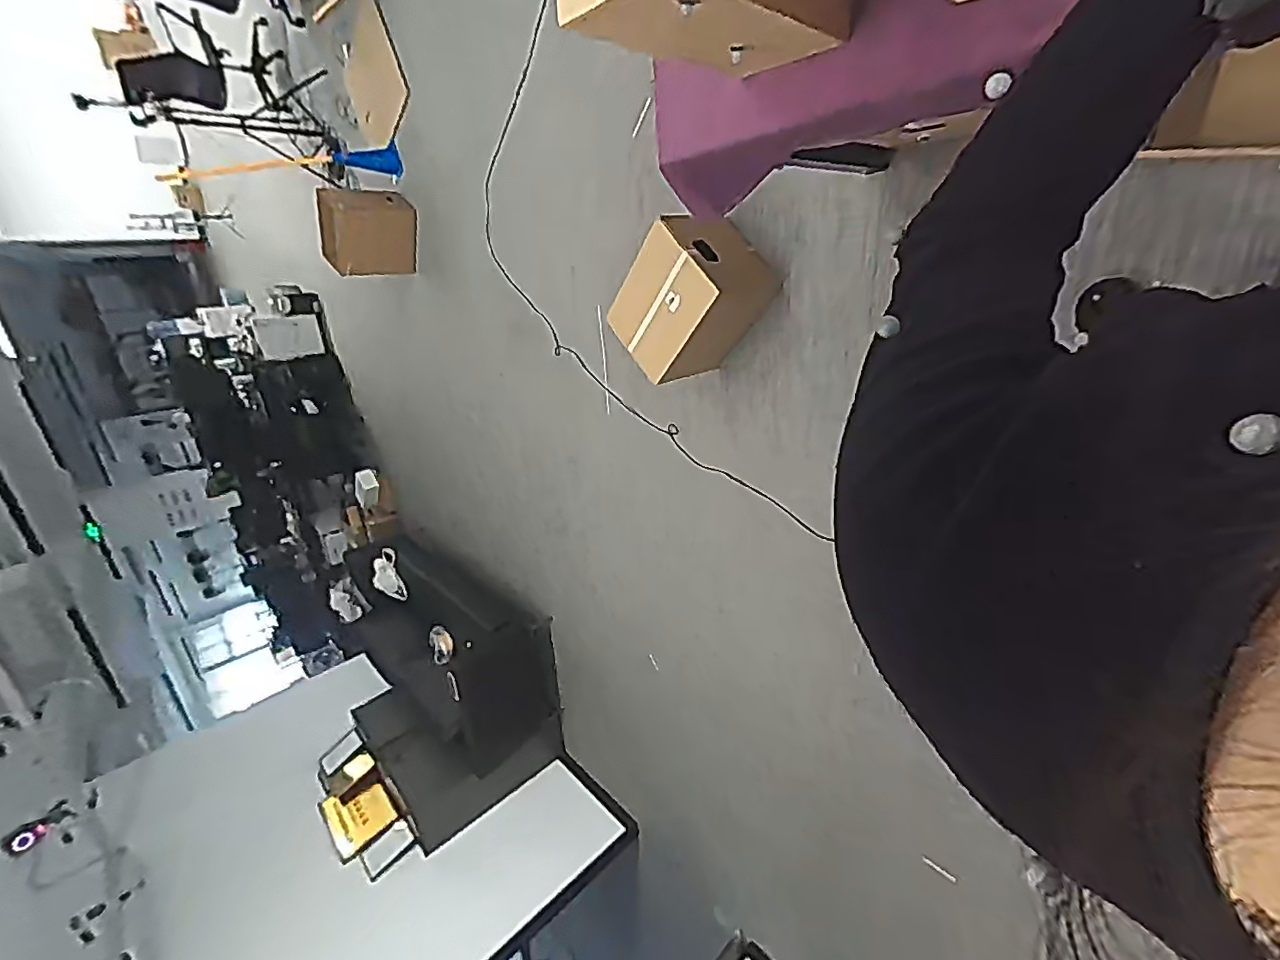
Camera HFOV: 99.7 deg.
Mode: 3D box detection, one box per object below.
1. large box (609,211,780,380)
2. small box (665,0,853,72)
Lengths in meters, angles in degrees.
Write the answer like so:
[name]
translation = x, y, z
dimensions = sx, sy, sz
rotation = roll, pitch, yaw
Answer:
[large box]
translation = 0.165, -0.586, 1.745
dimensions = 0.320, 0.320, 0.408
rotation = 56, 139, 14
[small box]
translation = 0.148, -0.635, 0.671
dimensions = 0.179, 0.176, 0.168
rotation = 21, 123, 44
